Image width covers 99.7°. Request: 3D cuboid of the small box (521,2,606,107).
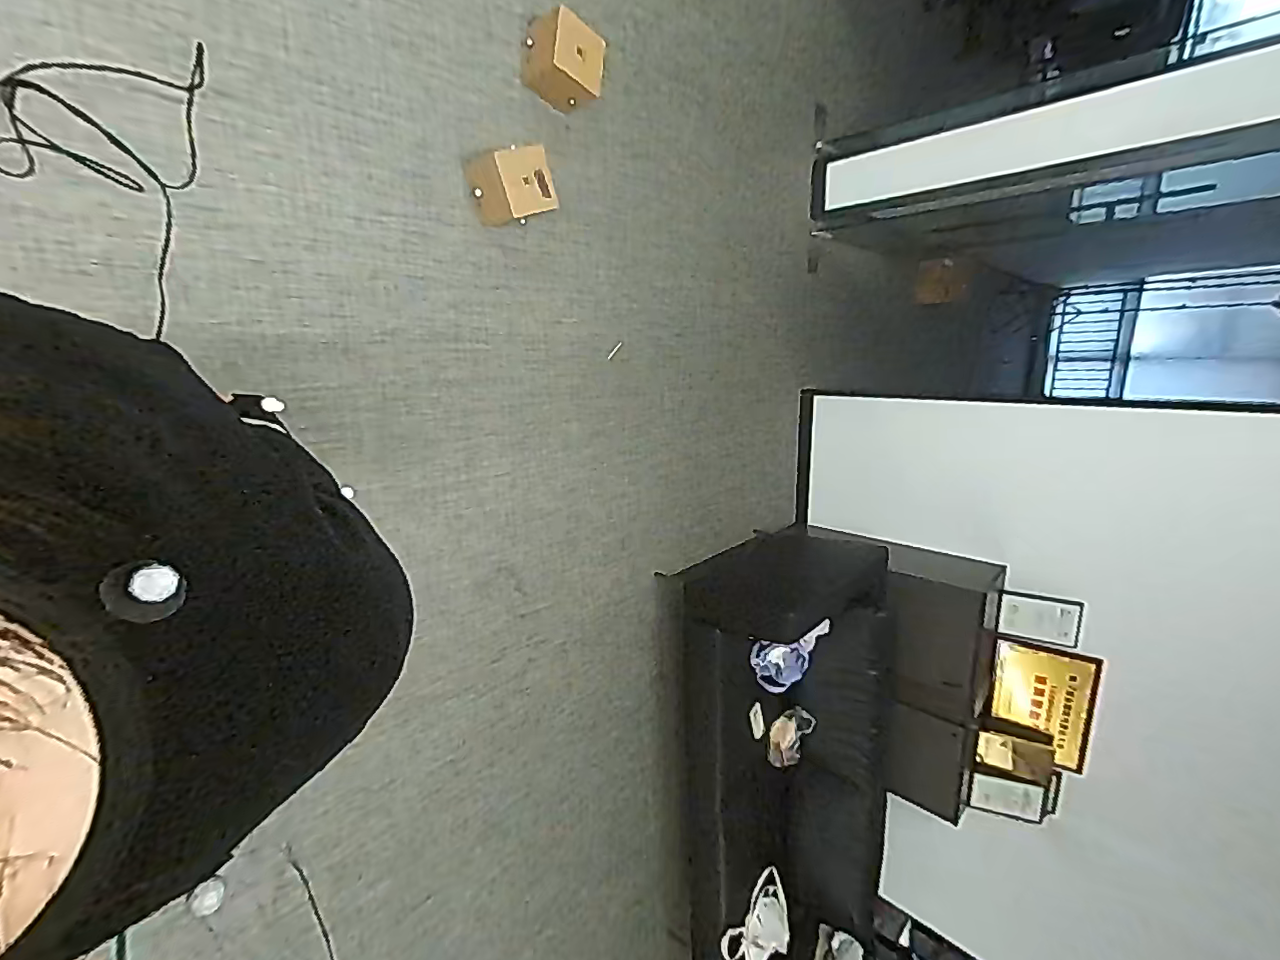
[{"bbox_3d":[-0.231,-1.260,1.623,0.179,0.176,0.168,4,95,-47],"label":"small box"}]
